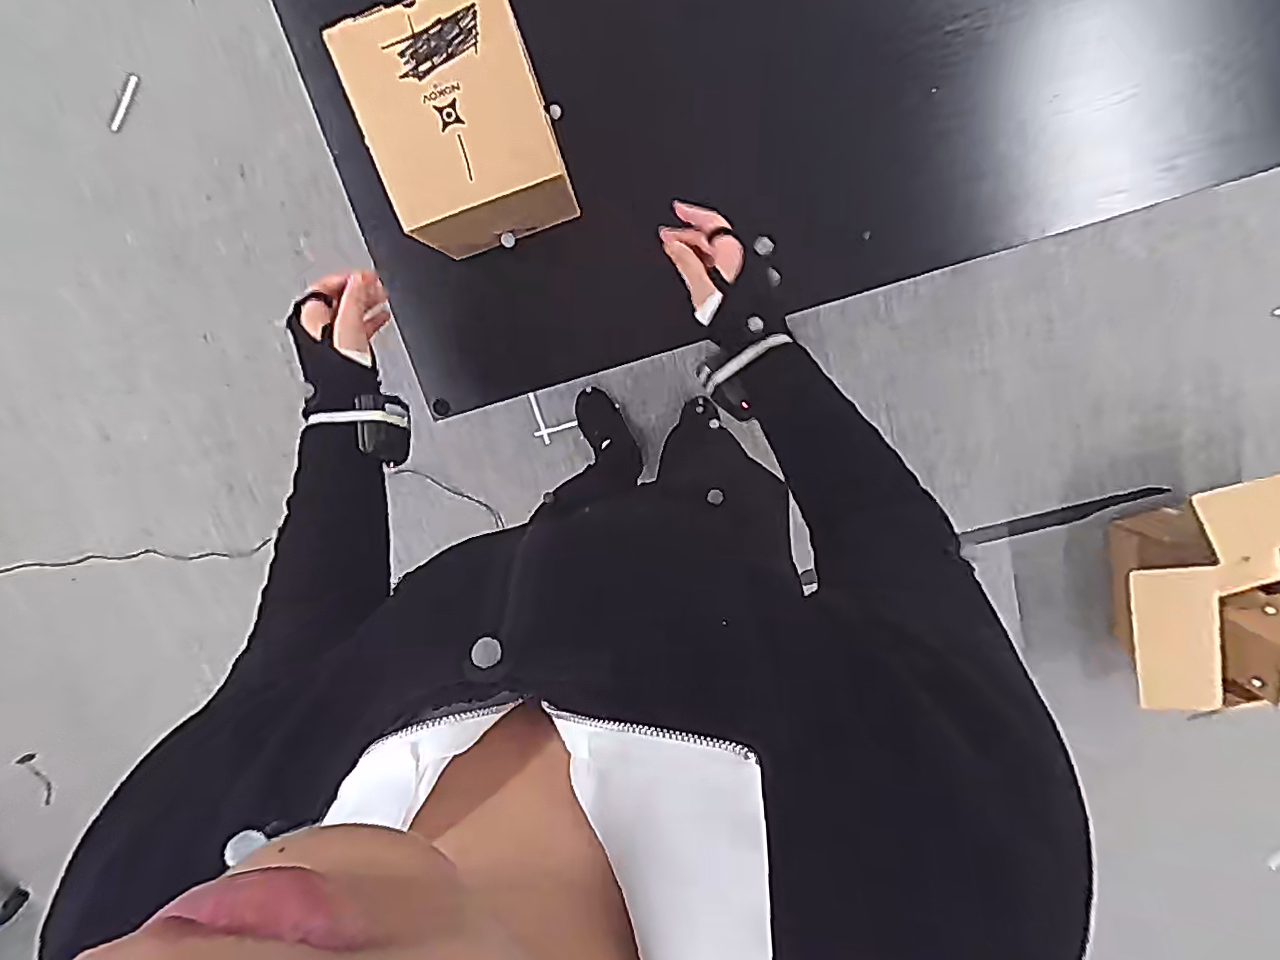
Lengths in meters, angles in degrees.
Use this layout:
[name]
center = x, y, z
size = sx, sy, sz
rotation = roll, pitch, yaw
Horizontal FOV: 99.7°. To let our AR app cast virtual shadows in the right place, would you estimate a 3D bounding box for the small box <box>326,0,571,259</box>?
[small box]
center = -0.183, -0.358, 0.577
size = 0.168, 0.176, 0.179
rotation = -18, 104, 3
